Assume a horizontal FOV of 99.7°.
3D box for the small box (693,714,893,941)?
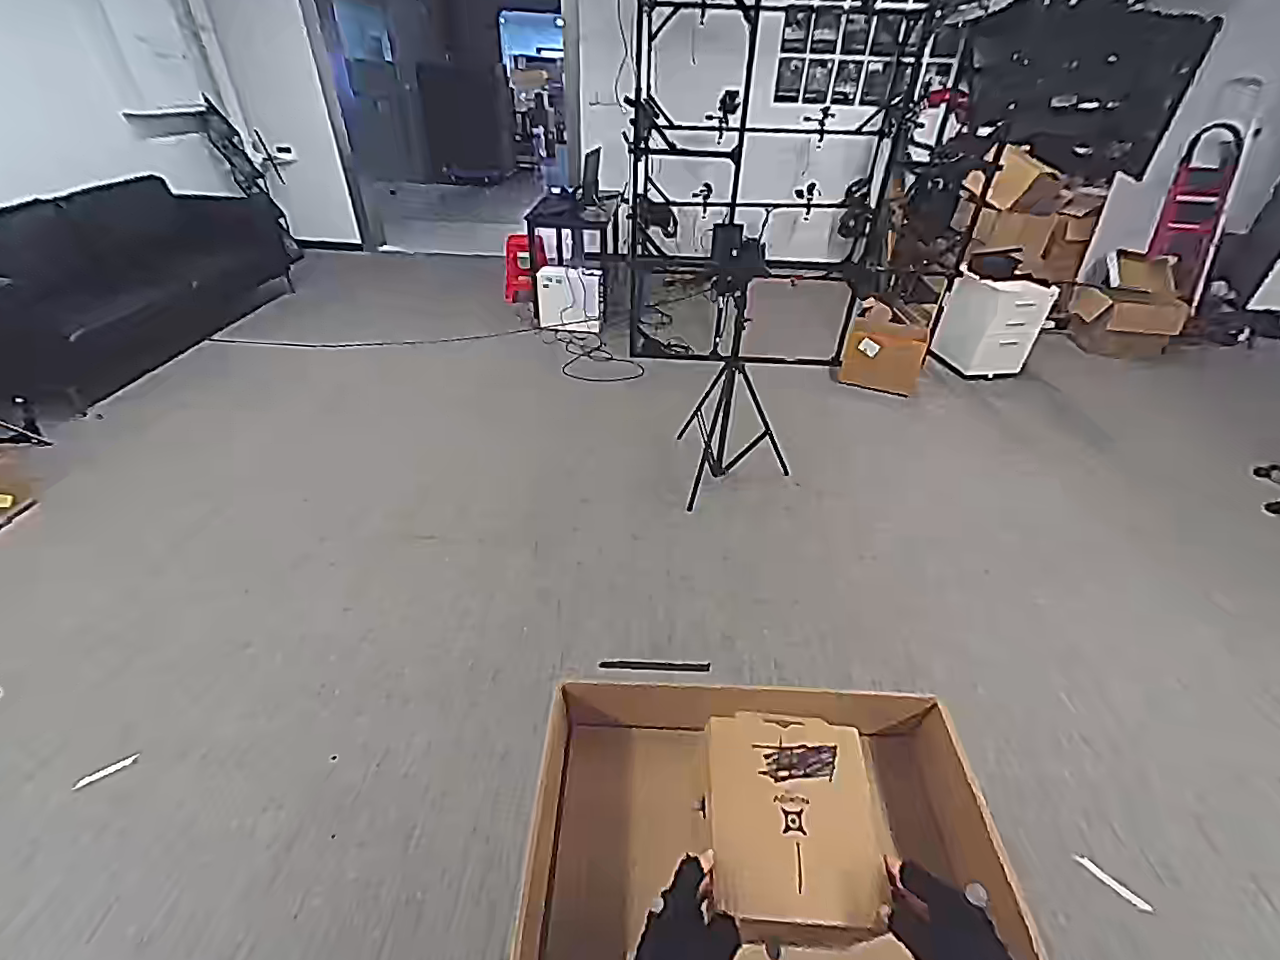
[{"bbox_3d":[0.149,0.388,0.605,0.168,0.176,0.179,3,45,1],"label":"small box"}]
